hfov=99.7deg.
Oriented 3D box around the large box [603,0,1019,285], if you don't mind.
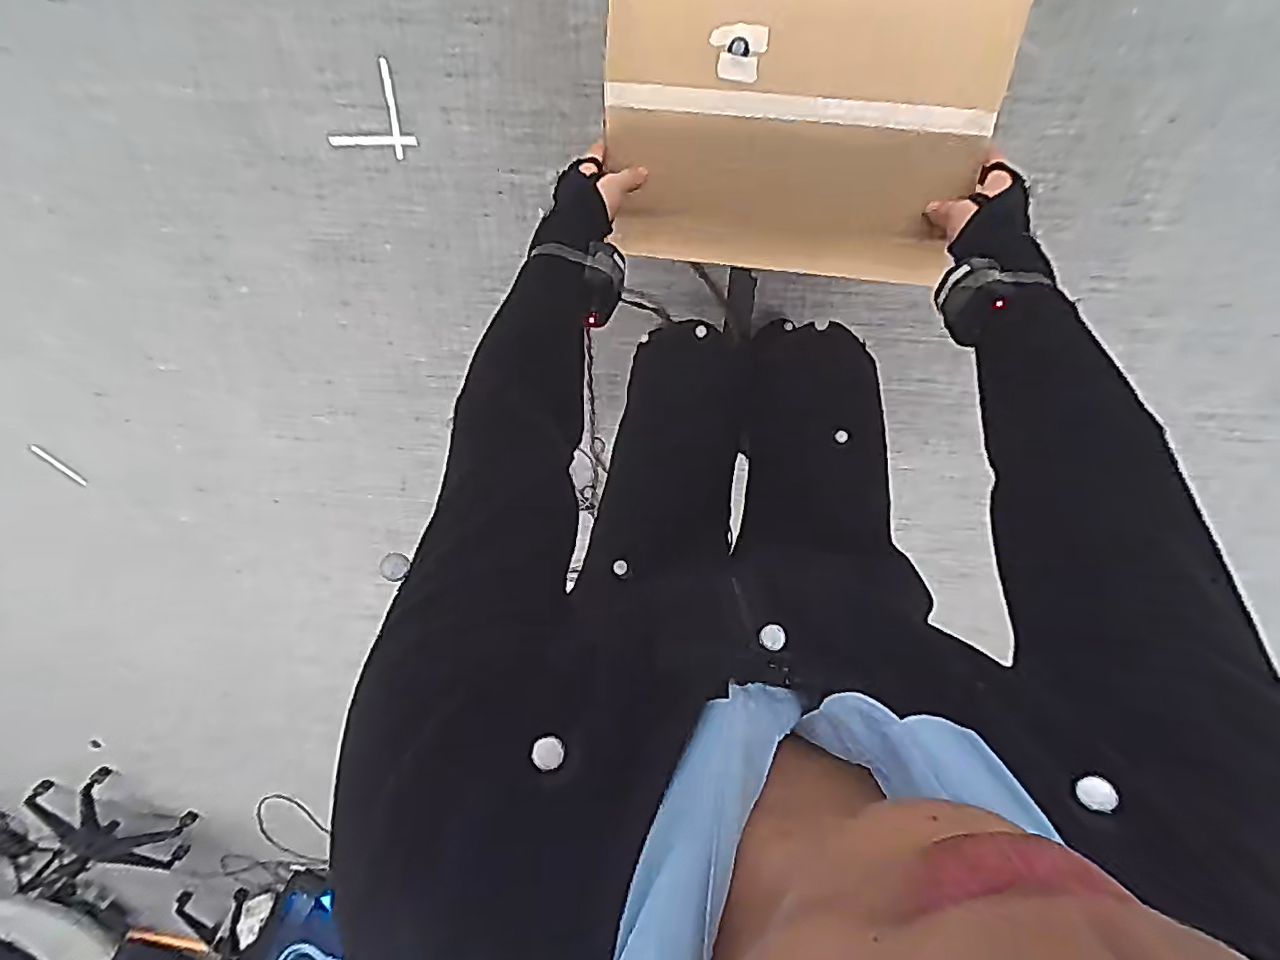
[{"bbox_3d":[0.184,-0.445,0.715,0.408,0.320,0.320,8,113,5],"label":"large box"}]
